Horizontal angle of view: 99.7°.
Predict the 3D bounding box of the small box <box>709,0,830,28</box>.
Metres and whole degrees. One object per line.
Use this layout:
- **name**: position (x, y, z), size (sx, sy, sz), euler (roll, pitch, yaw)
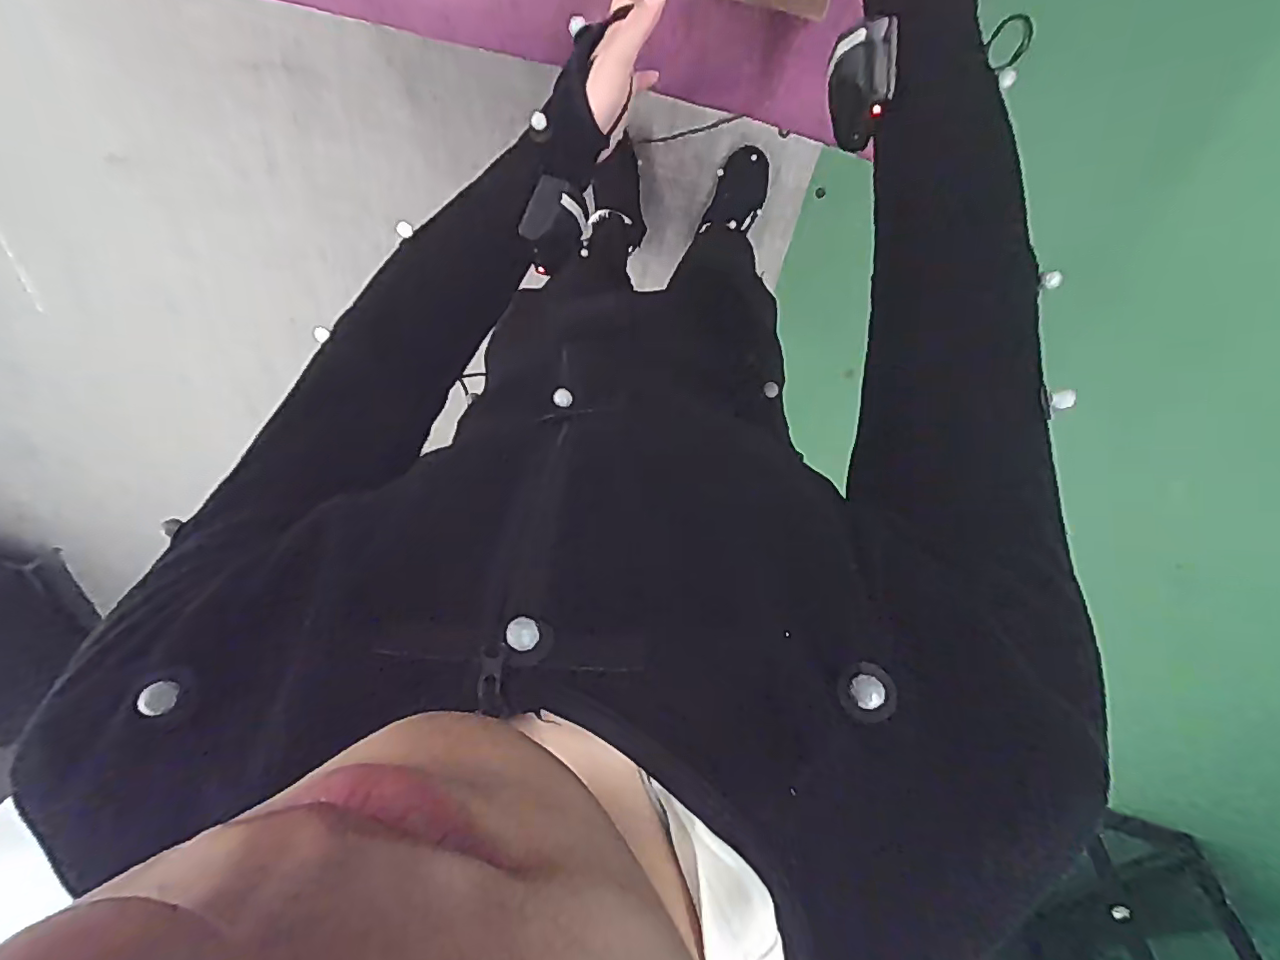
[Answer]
- **small box**: position (0.110, -0.516, 0.450), size (0.168, 0.176, 0.179), euler (20, 127, 4)
